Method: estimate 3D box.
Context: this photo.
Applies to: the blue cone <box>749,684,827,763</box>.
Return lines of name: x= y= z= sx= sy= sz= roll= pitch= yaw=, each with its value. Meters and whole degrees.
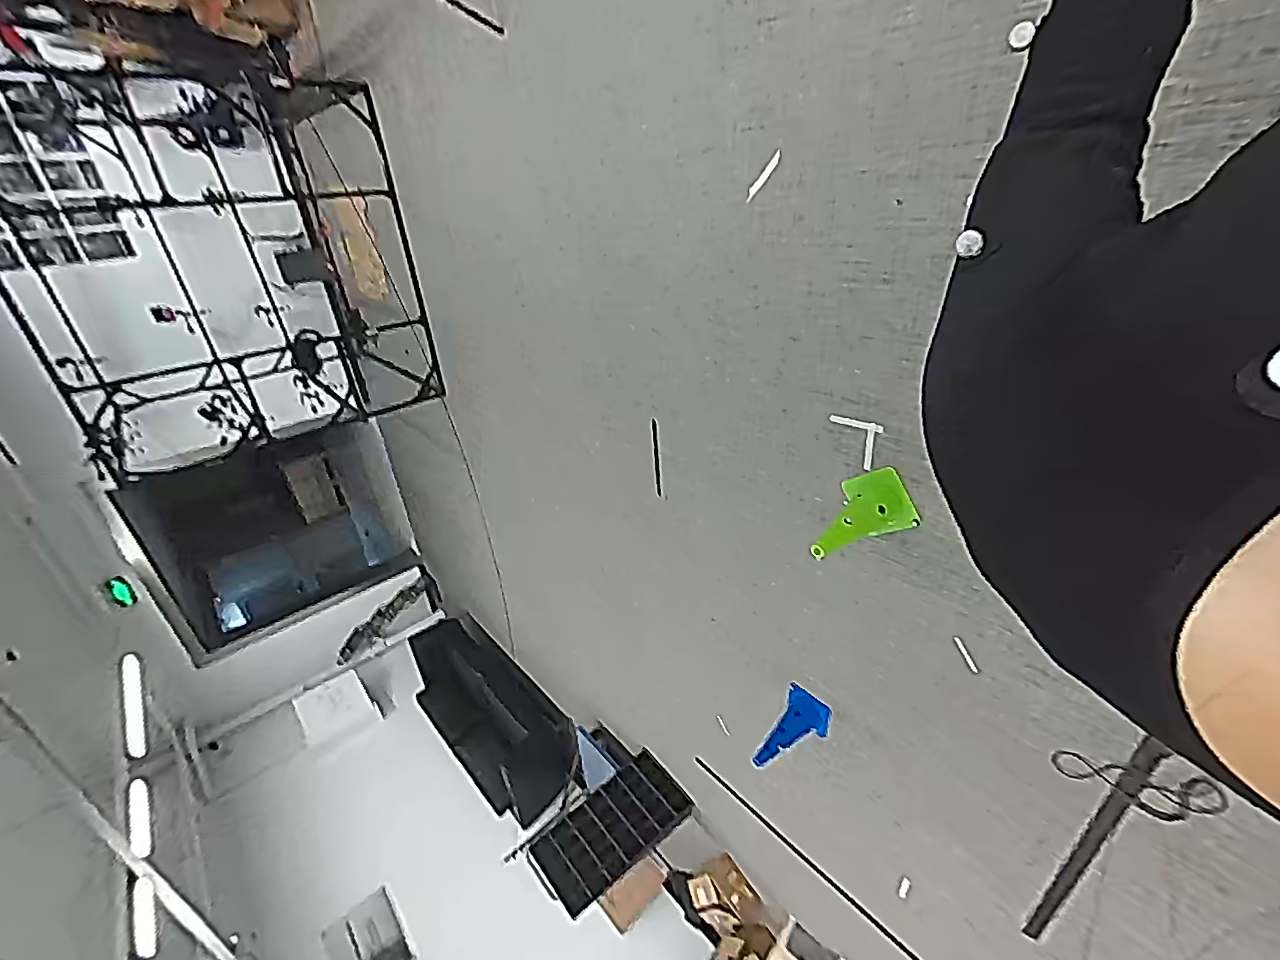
blue cone: x=0.597 y=1.057 z=2.260 sx=0.192 sy=0.380 sz=0.193 roll=31 pitch=133 yaw=41

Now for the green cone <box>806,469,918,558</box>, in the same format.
green cone: x=0.619 y=0.133 z=1.606 sx=0.202 sy=0.368 sz=0.200 roll=-30 pitch=86 yaw=58
